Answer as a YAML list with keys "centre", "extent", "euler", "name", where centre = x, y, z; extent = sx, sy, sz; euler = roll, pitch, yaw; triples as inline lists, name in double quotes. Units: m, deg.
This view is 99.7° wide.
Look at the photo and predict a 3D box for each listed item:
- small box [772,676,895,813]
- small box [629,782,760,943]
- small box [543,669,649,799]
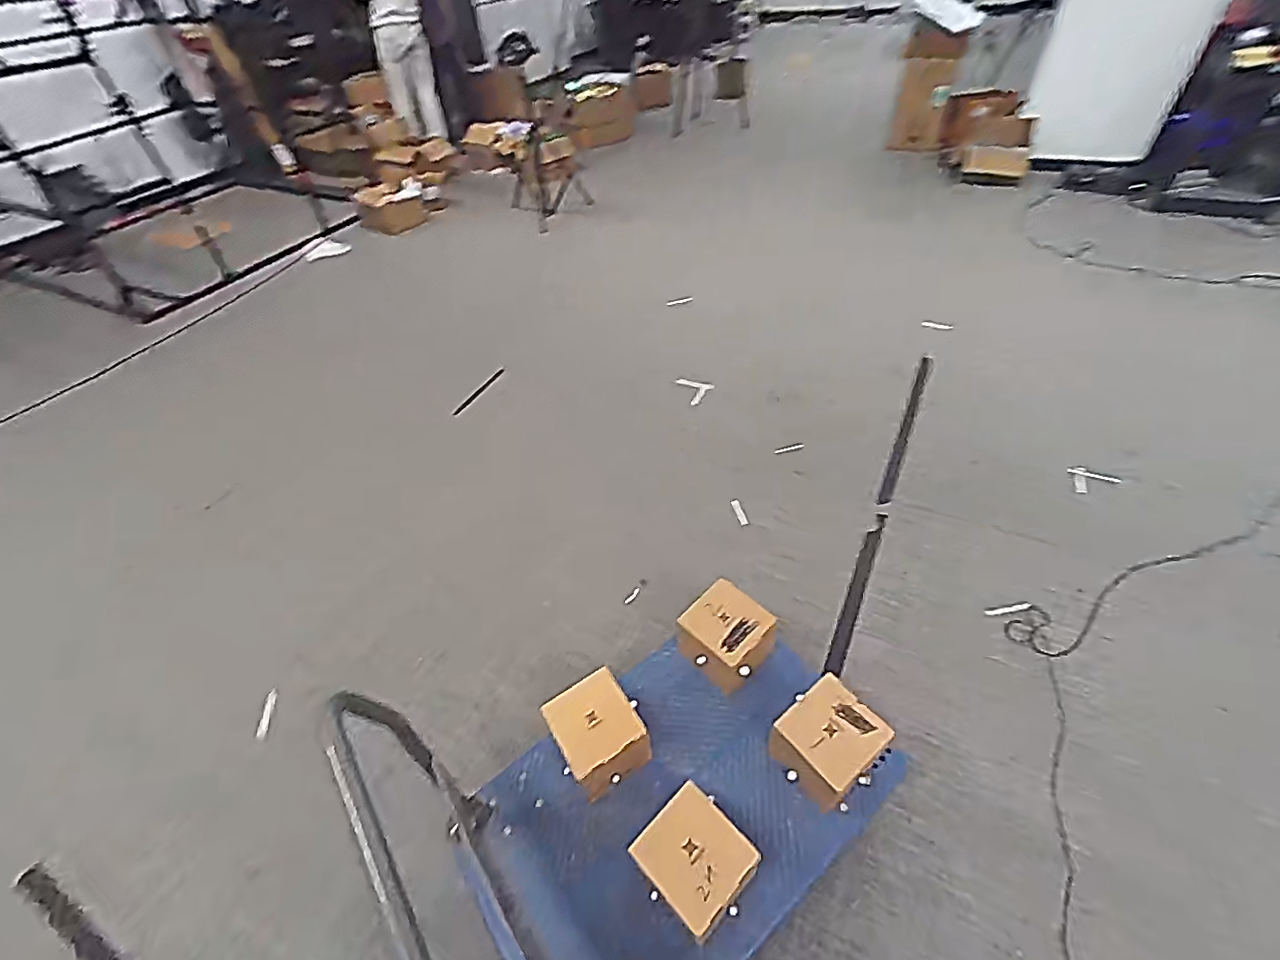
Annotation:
- centre: [0.396, 0.558, 1.141]
  extent: [0.179, 0.176, 0.168]
  euler: [-32, 50, -21]
  name: "small box"
- centre: [0.101, 0.721, 1.016]
  extent: [0.168, 0.176, 0.179]
  euler: [-36, 52, -26]
  name: "small box"
- centre: [-0.094, 0.562, 1.194]
  extent: [0.168, 0.176, 0.179]
  euler: [-28, 50, -20]
  name: "small box"
